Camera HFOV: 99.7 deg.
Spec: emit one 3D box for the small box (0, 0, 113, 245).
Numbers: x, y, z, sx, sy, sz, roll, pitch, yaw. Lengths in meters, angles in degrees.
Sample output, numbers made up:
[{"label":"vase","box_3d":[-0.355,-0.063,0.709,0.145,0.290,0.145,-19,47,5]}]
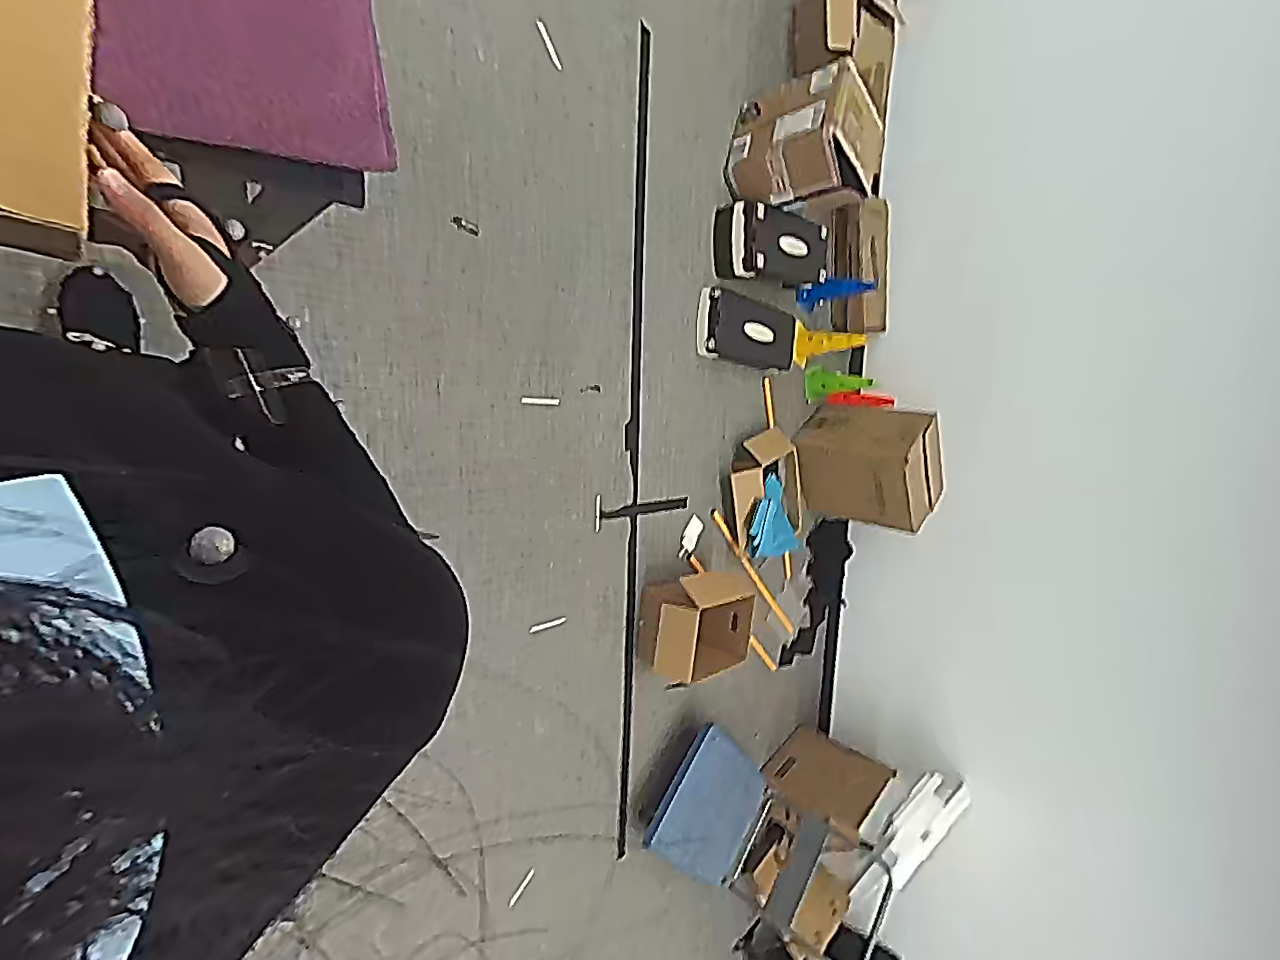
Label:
[{"label":"small box","box_3d":[-0.411,-0.249,0.294,0.168,0.176,0.179,2,100,-48]}]
